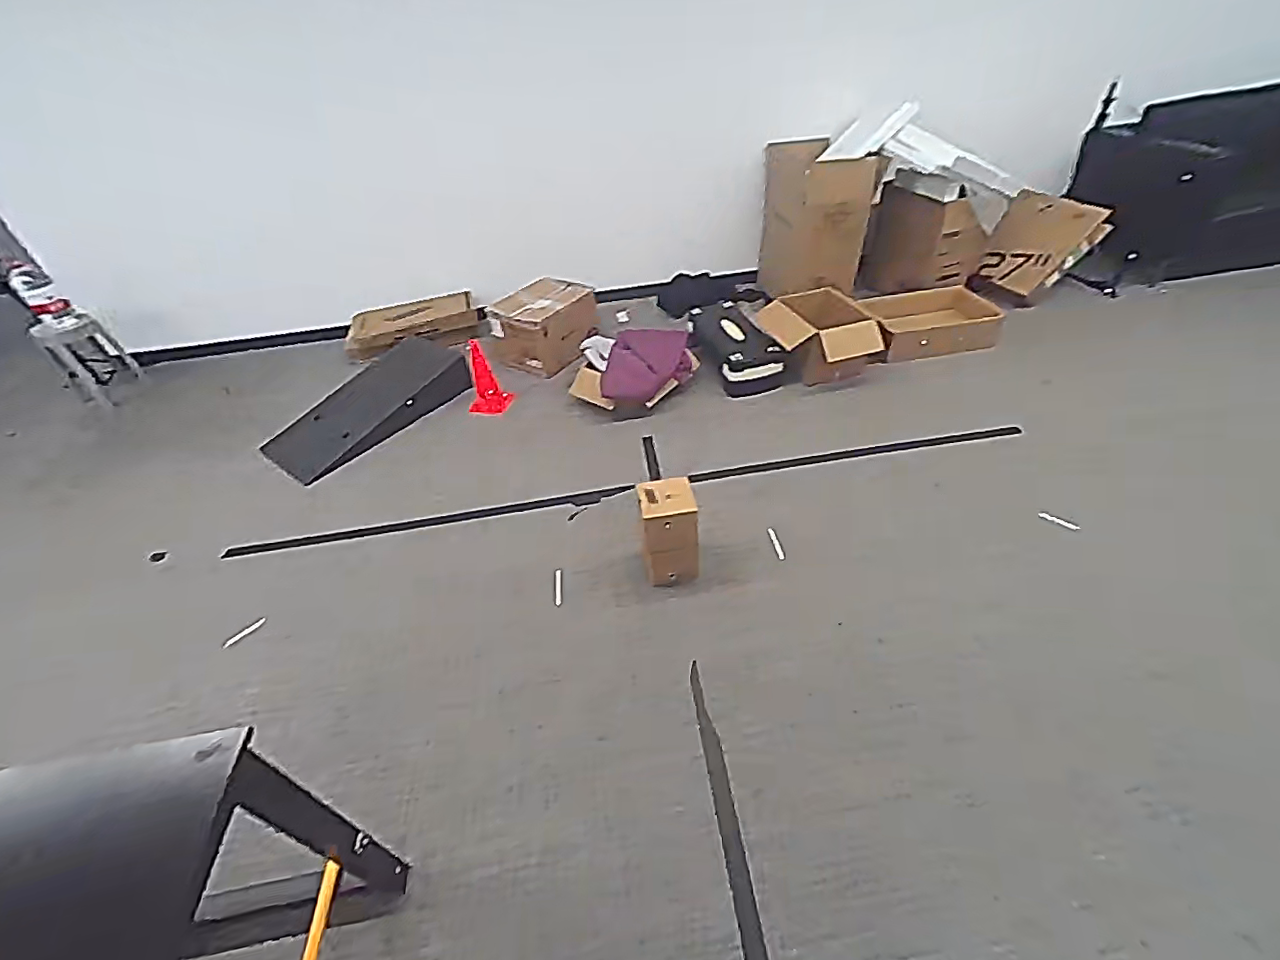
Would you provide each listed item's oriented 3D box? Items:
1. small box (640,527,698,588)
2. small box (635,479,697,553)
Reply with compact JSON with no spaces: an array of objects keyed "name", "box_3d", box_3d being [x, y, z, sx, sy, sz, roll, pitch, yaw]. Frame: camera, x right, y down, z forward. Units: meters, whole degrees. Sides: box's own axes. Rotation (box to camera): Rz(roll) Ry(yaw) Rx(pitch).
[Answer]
[{"name":"small box","box_3d":[0.100,0.246,1.884,0.168,0.176,0.179,-13,43,-6]},{"name":"small box","box_3d":[0.085,0.122,1.776,0.179,0.176,0.168,-9,42,-3]}]
